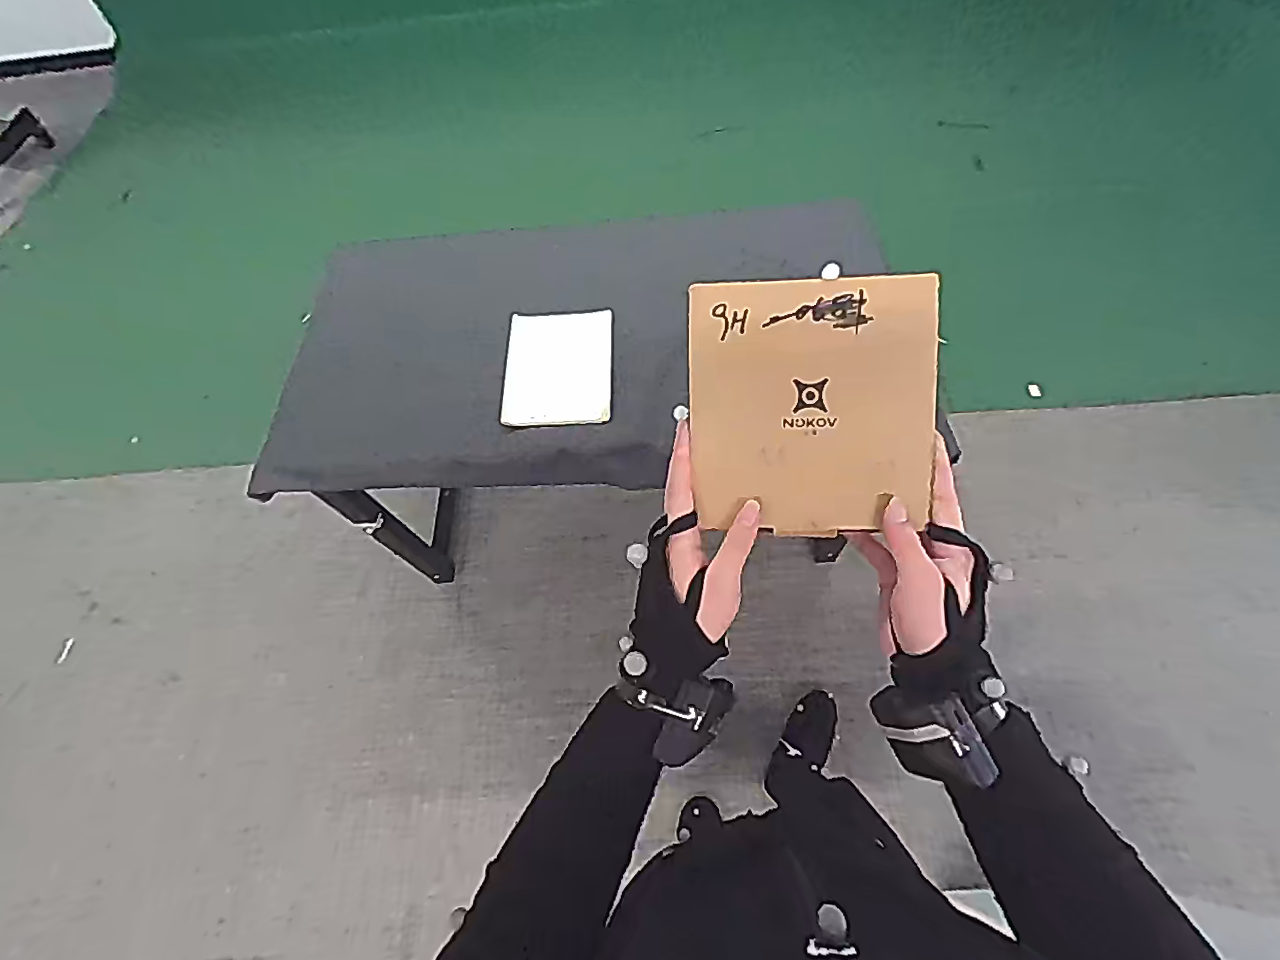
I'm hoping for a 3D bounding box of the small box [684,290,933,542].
[{"bbox_3d":[0.123,-0.054,0.458,0.168,0.176,0.179,0,98,6],"label":"small box"}]
